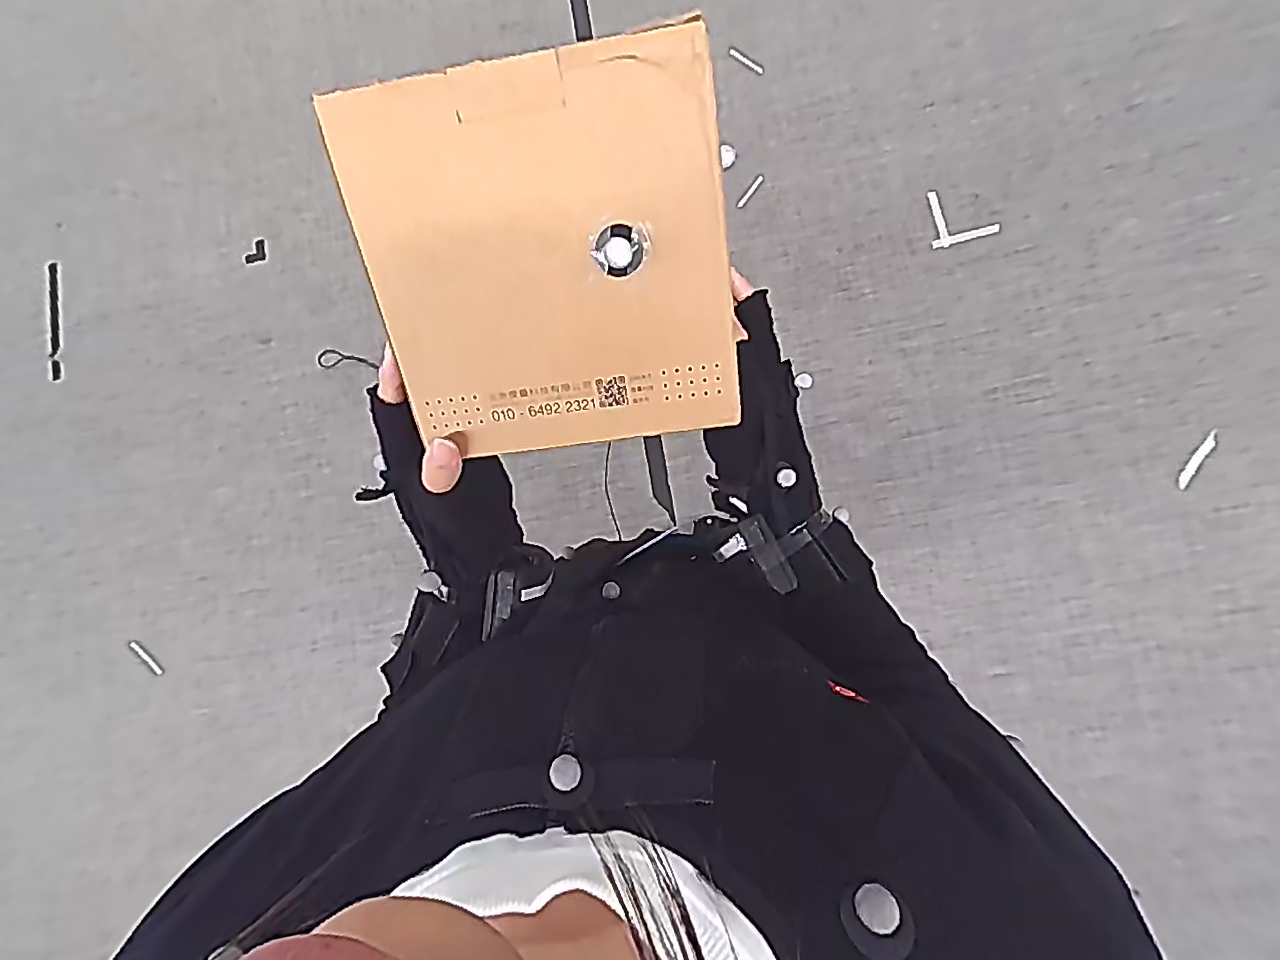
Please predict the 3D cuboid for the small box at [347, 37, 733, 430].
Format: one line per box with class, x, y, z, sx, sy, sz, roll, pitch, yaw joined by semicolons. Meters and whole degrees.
small box;-0.035;-0.134;0.340;0.168;0.179;0.176;-6;115;7
